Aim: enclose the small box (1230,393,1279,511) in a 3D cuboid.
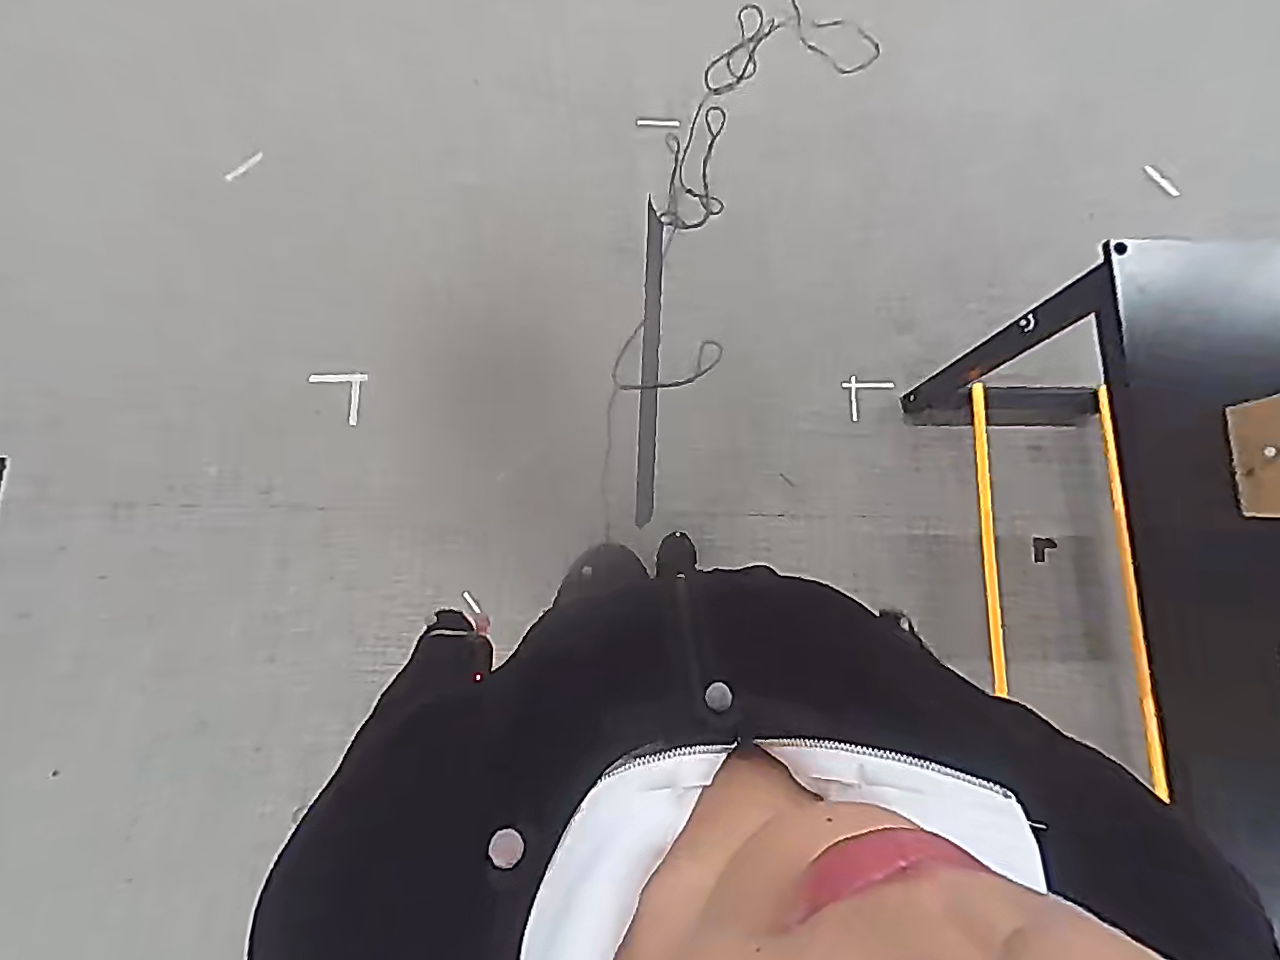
[{"bbox_3d":[0.975,-0.046,0.728,0.179,0.176,0.168,2,80,0],"label":"small box"}]
